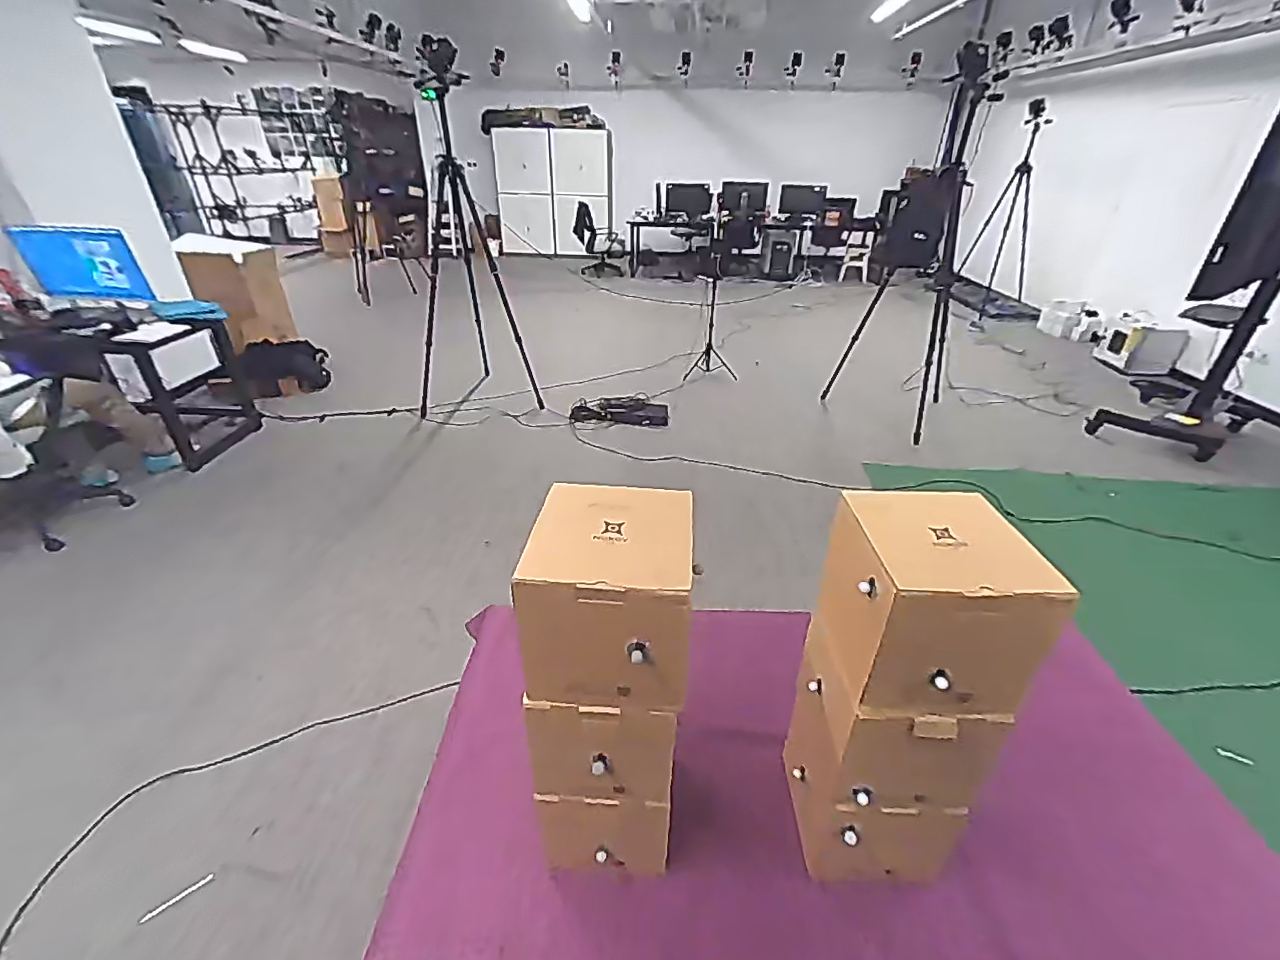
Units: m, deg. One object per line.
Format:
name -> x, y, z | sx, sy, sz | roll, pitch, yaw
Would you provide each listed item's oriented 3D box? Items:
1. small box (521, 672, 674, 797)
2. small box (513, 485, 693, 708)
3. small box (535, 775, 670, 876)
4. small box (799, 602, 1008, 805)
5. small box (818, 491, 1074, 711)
small box -> -0.041, 0.267, 0.677 | 0.168, 0.176, 0.179 | 3, 31, 1
small box -> -0.029, 0.124, 0.598 | 0.168, 0.176, 0.179 | 4, 30, 4
small box -> -0.043, 0.411, 0.757 | 0.168, 0.176, 0.179 | 2, 30, 2
small box -> 0.307, 0.275, 0.674 | 0.168, 0.176, 0.179 | 1, 29, 1
small box -> 0.311, 0.129, 0.600 | 0.168, 0.176, 0.179 | 1, 31, 0
